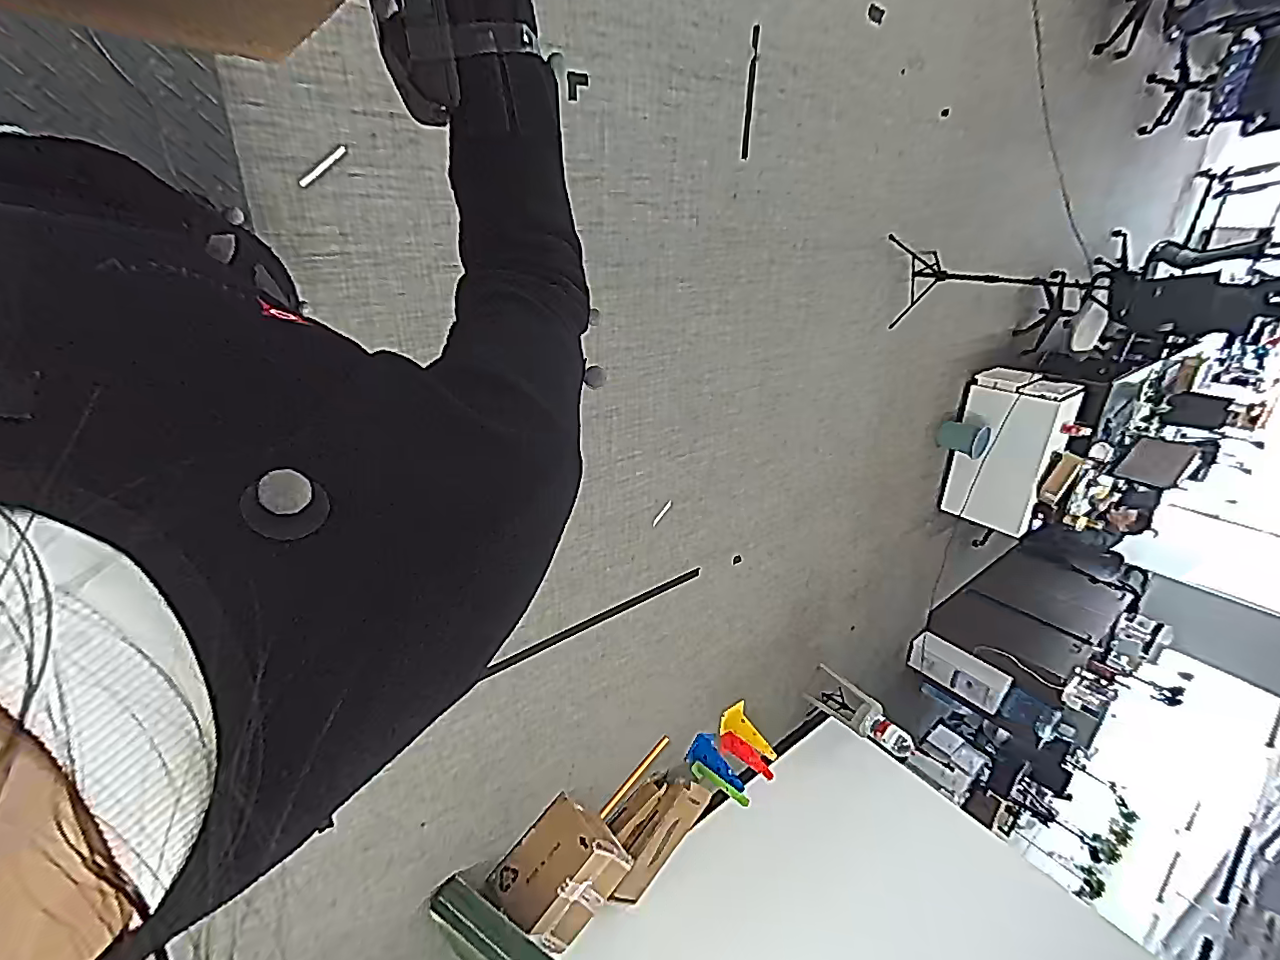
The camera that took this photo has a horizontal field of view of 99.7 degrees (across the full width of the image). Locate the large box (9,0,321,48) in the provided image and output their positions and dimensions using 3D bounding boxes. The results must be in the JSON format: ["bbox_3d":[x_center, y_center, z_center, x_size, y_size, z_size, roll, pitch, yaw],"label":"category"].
[{"bbox_3d":[-0.373,-0.413,0.197,0.408,0.320,0.320,-17,124,-37],"label":"large box"}]
